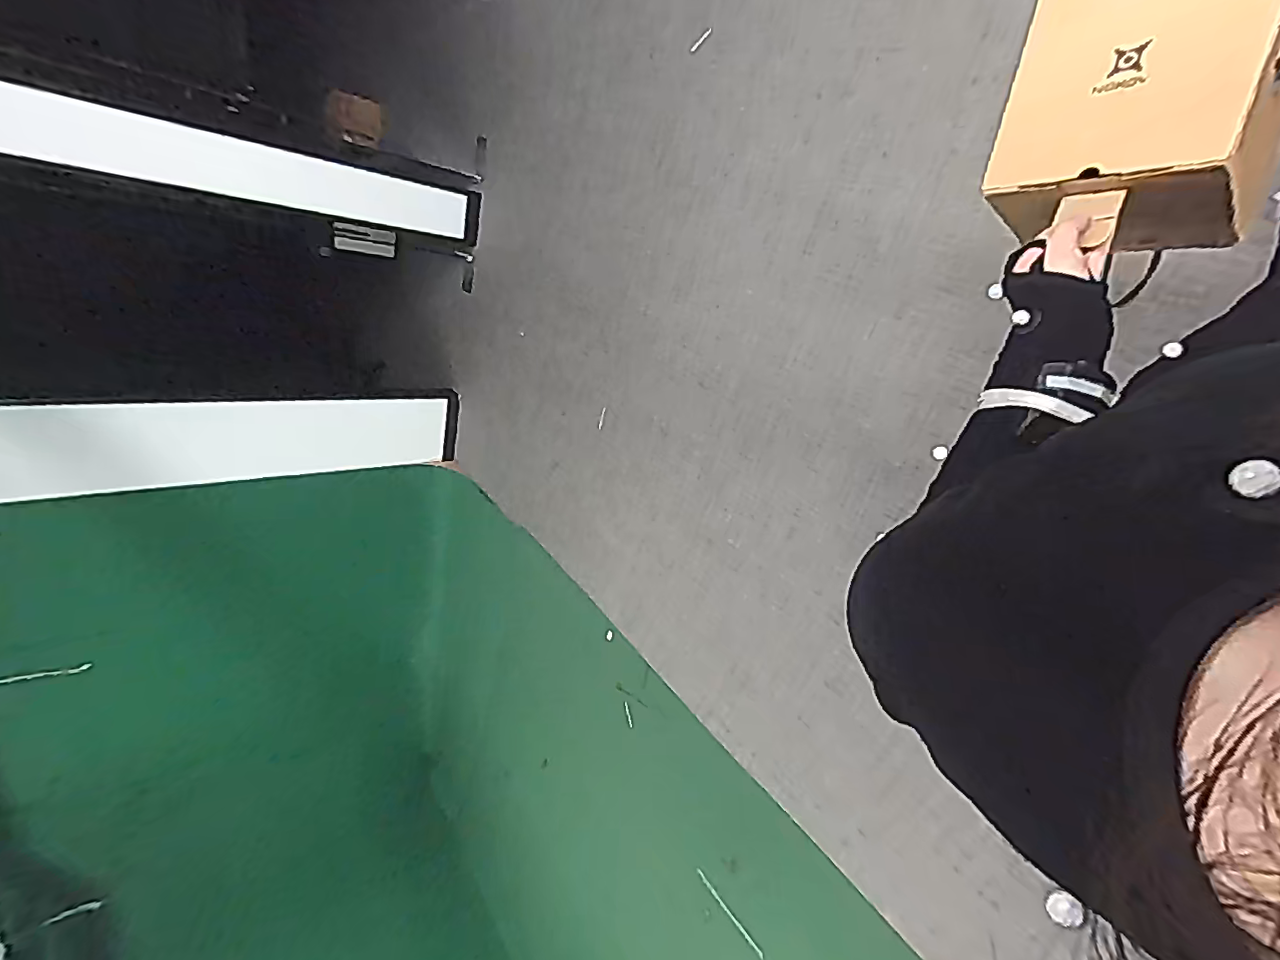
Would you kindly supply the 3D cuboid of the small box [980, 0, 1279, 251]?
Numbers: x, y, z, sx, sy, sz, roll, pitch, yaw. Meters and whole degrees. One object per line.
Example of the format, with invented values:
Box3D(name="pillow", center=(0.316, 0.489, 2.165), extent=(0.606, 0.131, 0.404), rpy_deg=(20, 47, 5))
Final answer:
Box3D(name="small box", center=(0.453, -0.331, 0.497), extent=(0.168, 0.176, 0.179), rpy_deg=(23, 104, 48))
